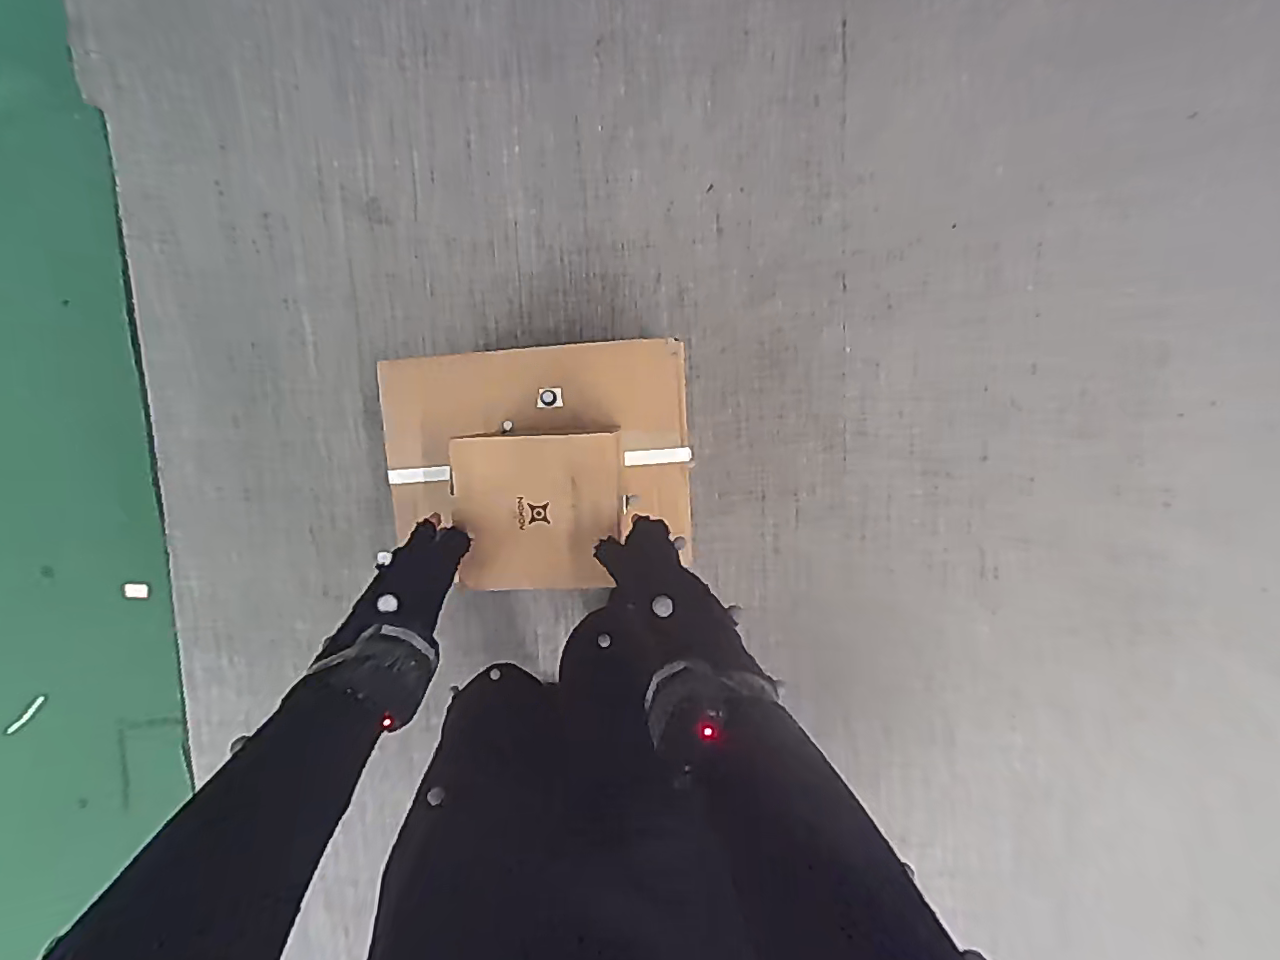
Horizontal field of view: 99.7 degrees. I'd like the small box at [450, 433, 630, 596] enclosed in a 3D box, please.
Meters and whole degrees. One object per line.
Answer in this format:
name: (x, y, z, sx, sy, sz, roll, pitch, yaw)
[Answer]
small box: (-0.105, 0.032, 0.644, 0.179, 0.176, 0.168, -3, 98, 2)
